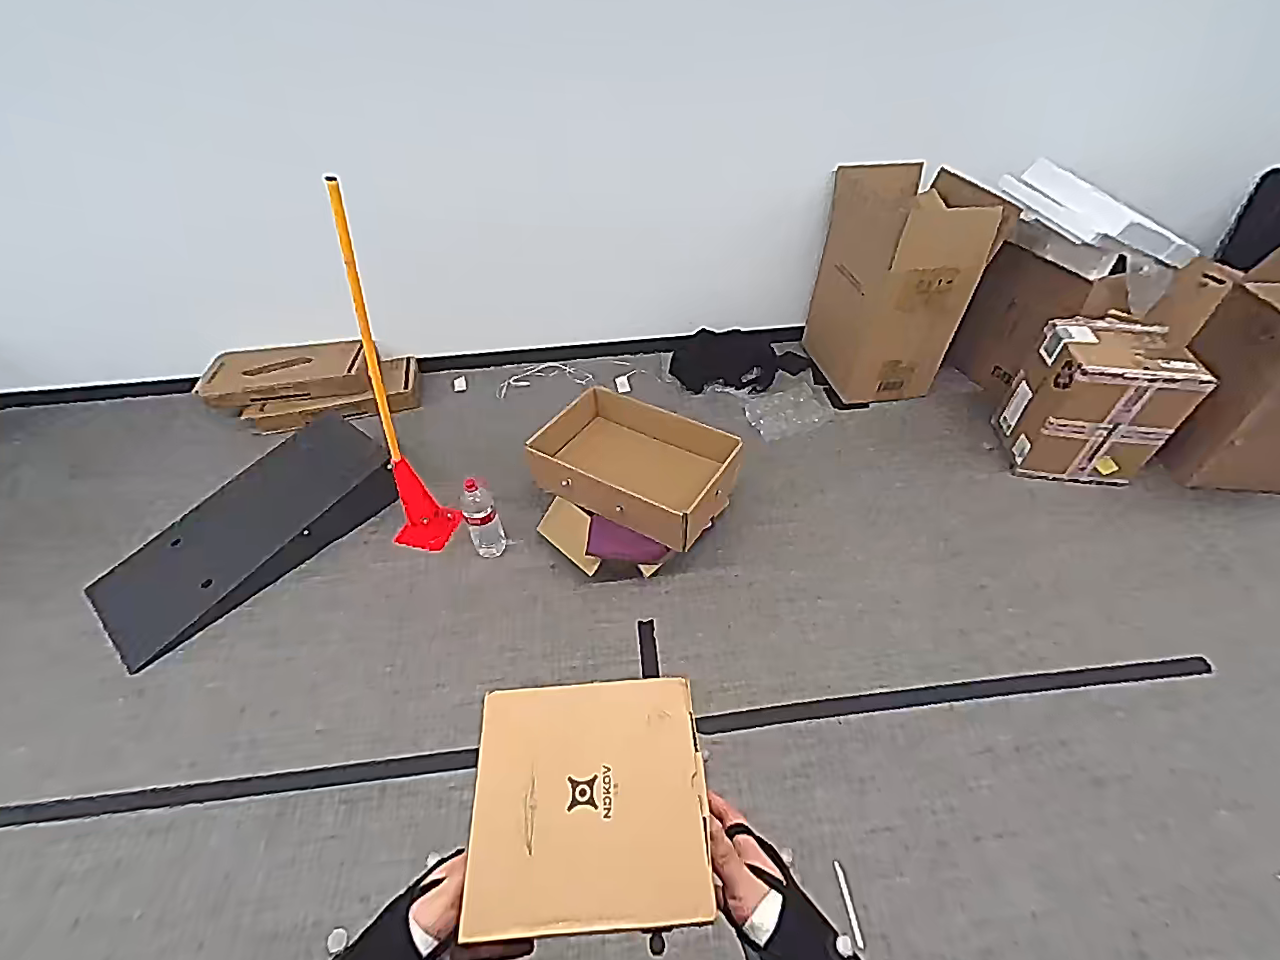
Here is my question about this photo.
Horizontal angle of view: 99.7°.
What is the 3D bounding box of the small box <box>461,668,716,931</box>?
[{"bbox_3d":[-0.036,0.282,0.475,0.179,0.176,0.168,-6,49,0],"label":"small box"}]
